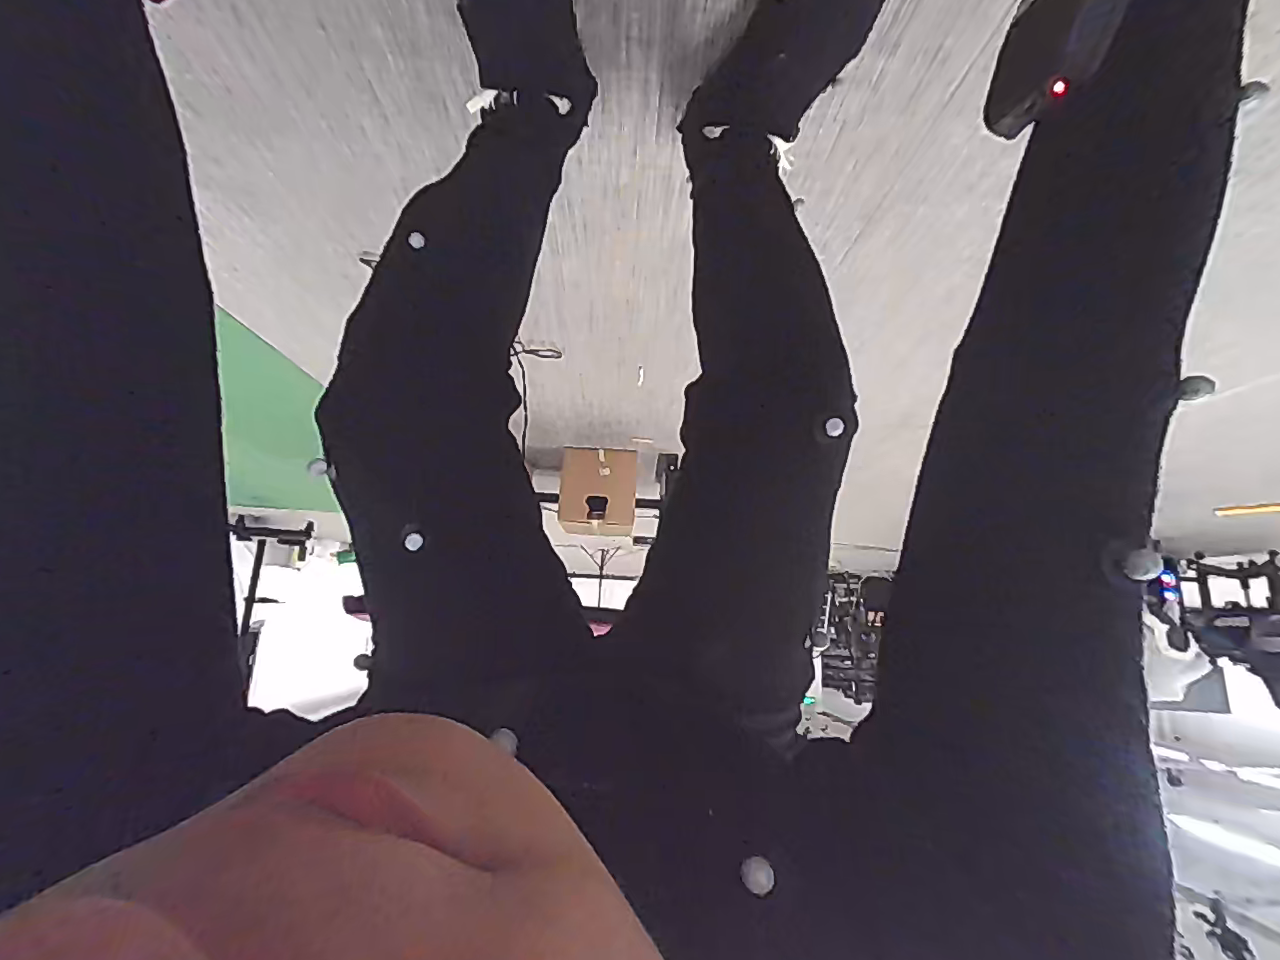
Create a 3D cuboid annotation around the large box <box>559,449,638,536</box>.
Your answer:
[{"bbox_3d":[-0.169,0.065,2.372,0.320,0.320,0.408,4,168,-1],"label":"large box"}]
